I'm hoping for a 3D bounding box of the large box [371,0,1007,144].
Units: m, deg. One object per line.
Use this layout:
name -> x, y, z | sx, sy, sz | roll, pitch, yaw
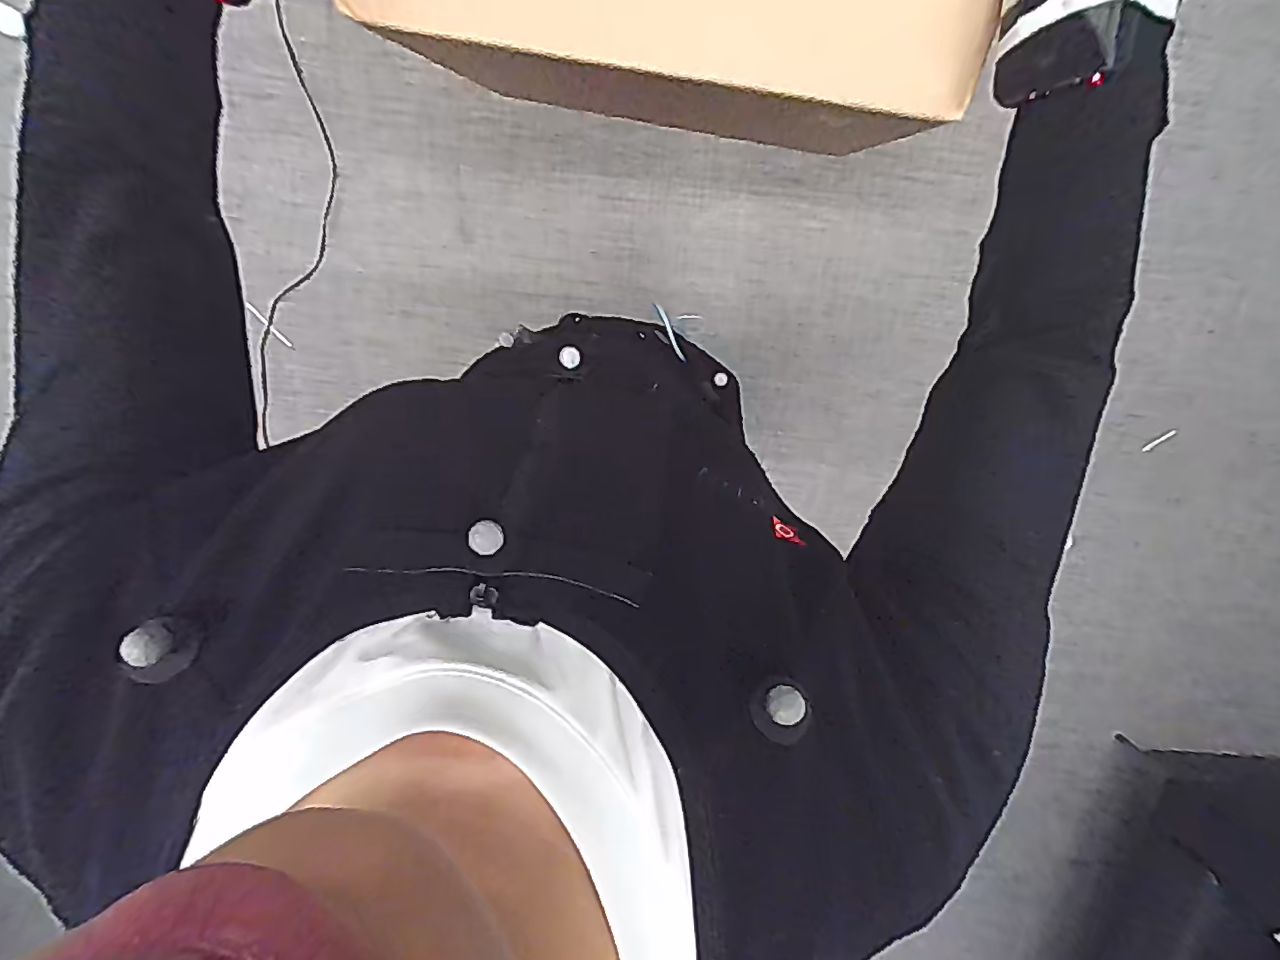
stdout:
large box -> 0.049, -0.476, 0.411 | 0.408, 0.320, 0.320 | 10, 118, 0
